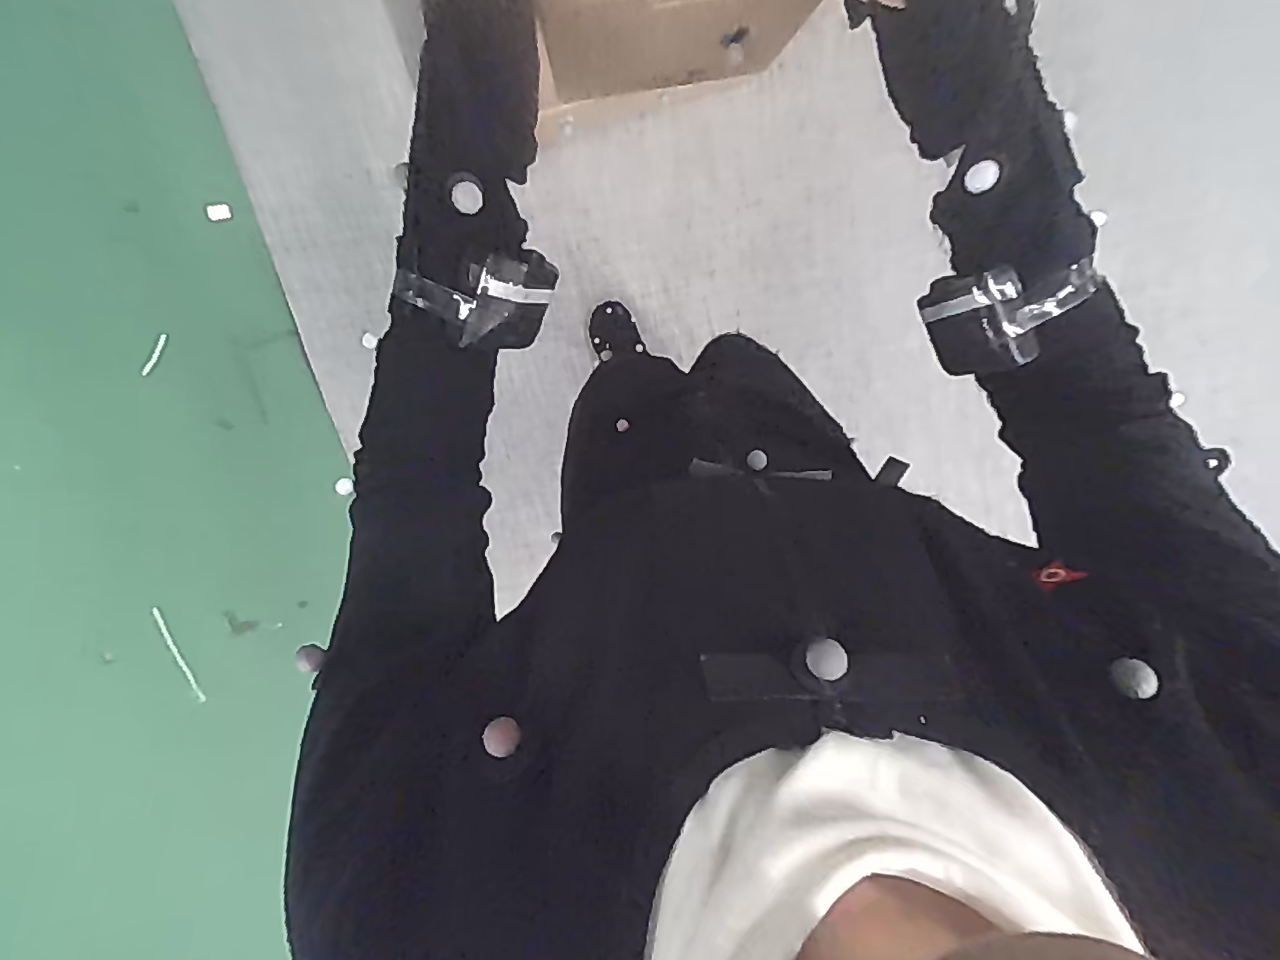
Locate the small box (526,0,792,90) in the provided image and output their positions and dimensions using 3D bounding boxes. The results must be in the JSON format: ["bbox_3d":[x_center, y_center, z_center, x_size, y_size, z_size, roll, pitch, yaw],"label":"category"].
[{"bbox_3d":[0.006,-0.360,0.321,0.168,0.176,0.179,-10,111,-1],"label":"small box"}]
